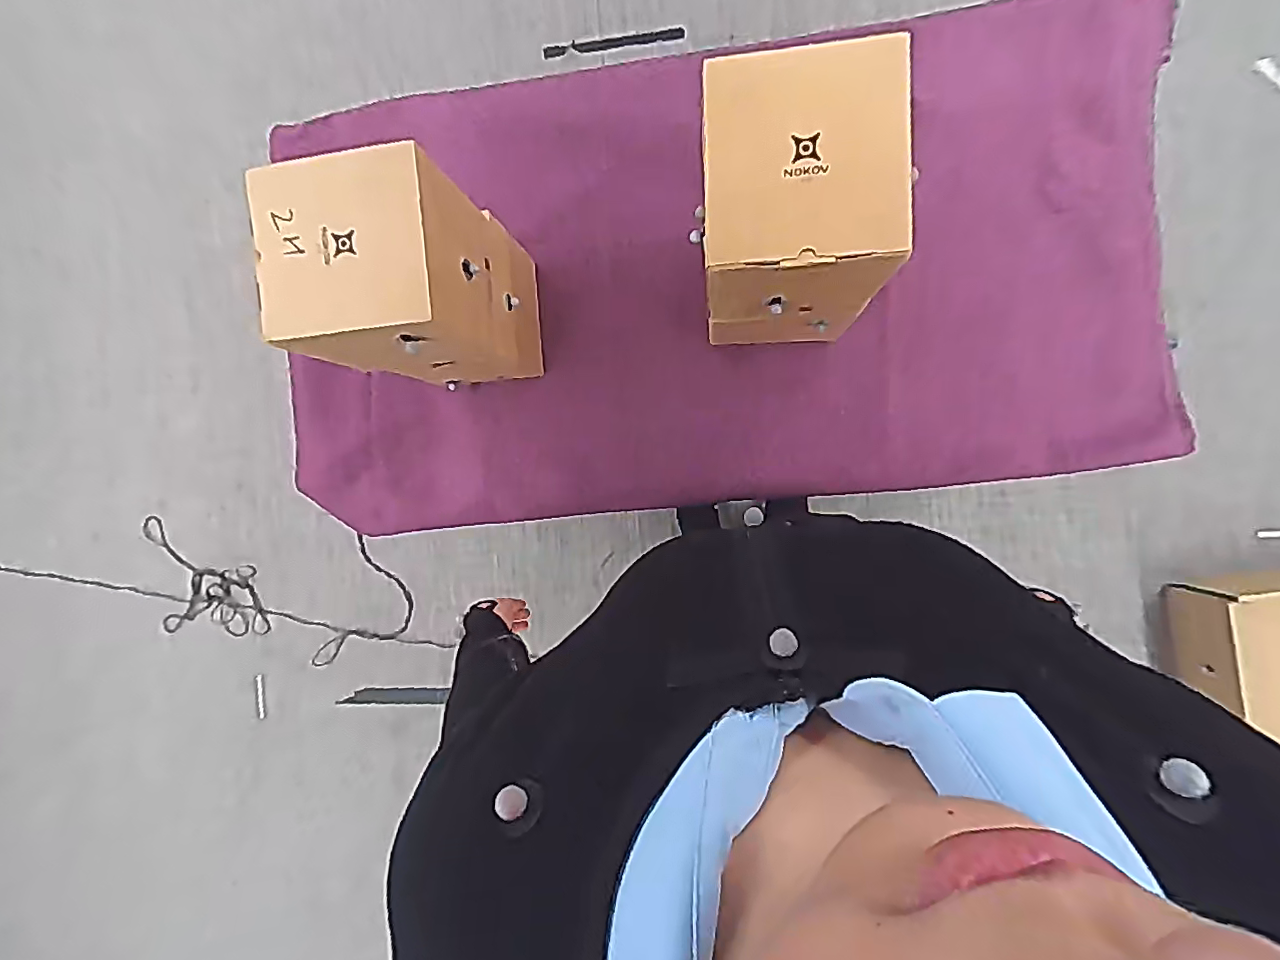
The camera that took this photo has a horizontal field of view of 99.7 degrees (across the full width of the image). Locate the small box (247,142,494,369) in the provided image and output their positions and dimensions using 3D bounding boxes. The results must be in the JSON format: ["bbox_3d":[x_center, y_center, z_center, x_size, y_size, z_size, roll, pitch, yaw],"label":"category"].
[{"bbox_3d":[-0.267,-0.221,0.578,0.179,0.176,0.168,-5,91,8],"label":"small box"}]

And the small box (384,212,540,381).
[{"bbox_3d":[-0.243,-0.234,0.741,0.168,0.176,0.179,-4,91,8],"label":"small box"}]

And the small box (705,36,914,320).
[{"bbox_3d":[0.146,-0.268,0.521,0.168,0.176,0.179,-2,91,8],"label":"small box"}]
